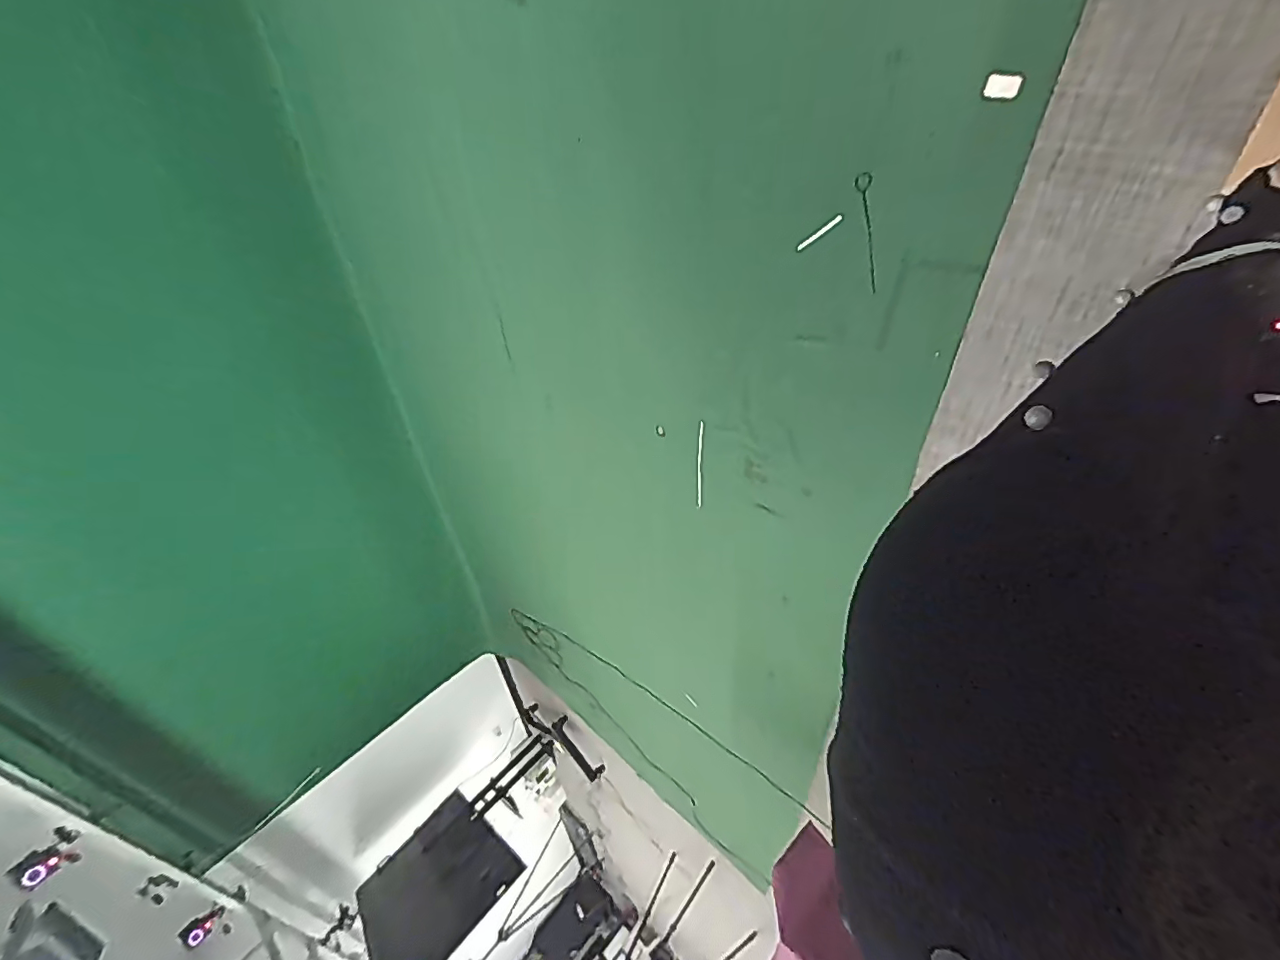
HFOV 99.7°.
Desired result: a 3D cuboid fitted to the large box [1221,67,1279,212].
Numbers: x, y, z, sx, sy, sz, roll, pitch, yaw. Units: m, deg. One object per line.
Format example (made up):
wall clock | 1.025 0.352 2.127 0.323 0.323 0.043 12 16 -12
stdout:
large box | 0.815 -0.461 0.453 0.320 0.320 0.408 28 137 35
